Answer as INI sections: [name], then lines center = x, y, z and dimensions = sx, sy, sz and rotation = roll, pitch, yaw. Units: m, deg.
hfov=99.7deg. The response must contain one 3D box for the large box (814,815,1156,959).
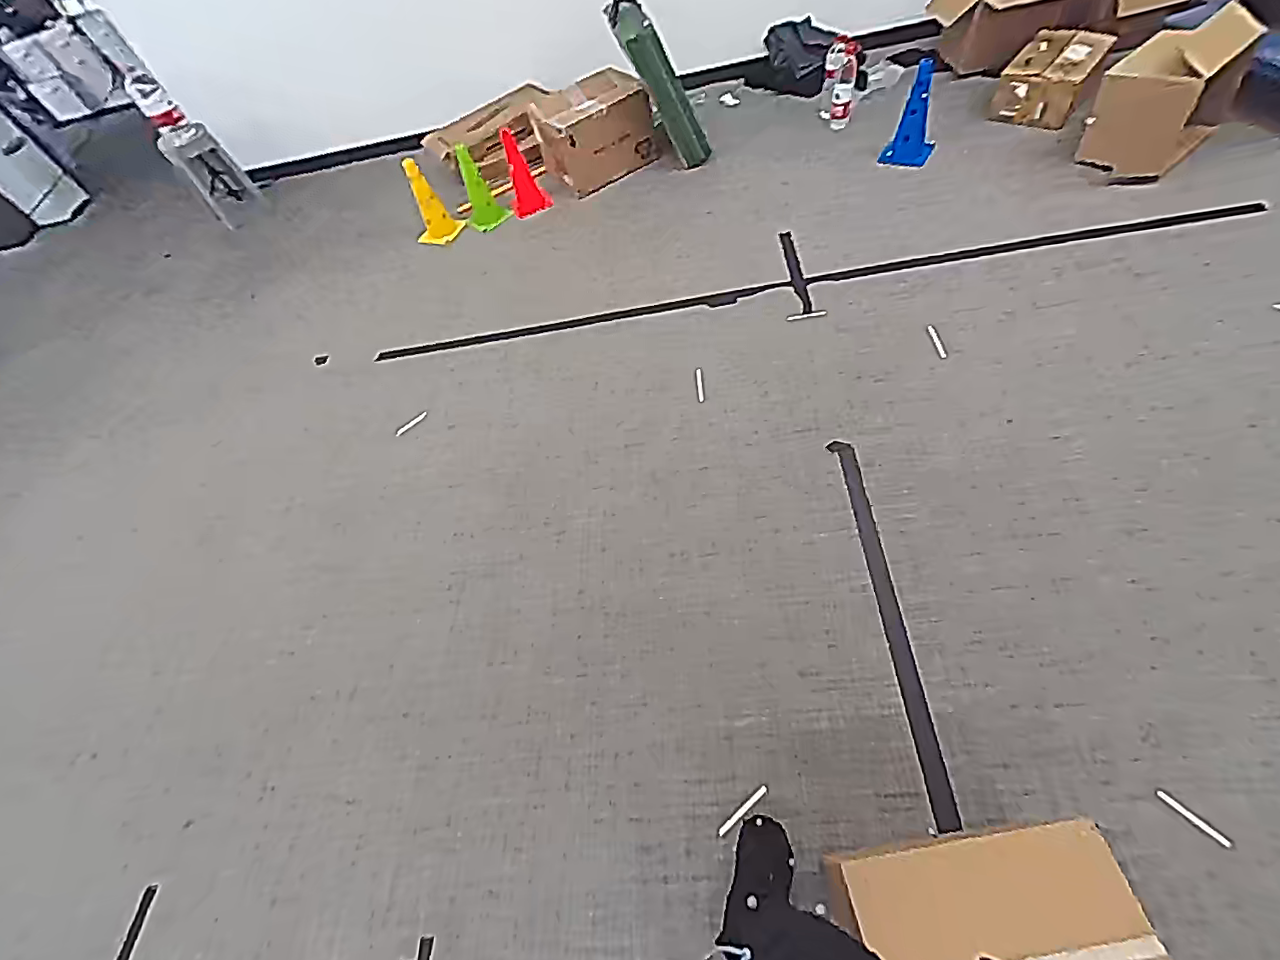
[large box]
center = 0.548, 0.779, 0.897
dimensions = 0.408, 0.320, 0.320
rotation = -12, 56, 2
